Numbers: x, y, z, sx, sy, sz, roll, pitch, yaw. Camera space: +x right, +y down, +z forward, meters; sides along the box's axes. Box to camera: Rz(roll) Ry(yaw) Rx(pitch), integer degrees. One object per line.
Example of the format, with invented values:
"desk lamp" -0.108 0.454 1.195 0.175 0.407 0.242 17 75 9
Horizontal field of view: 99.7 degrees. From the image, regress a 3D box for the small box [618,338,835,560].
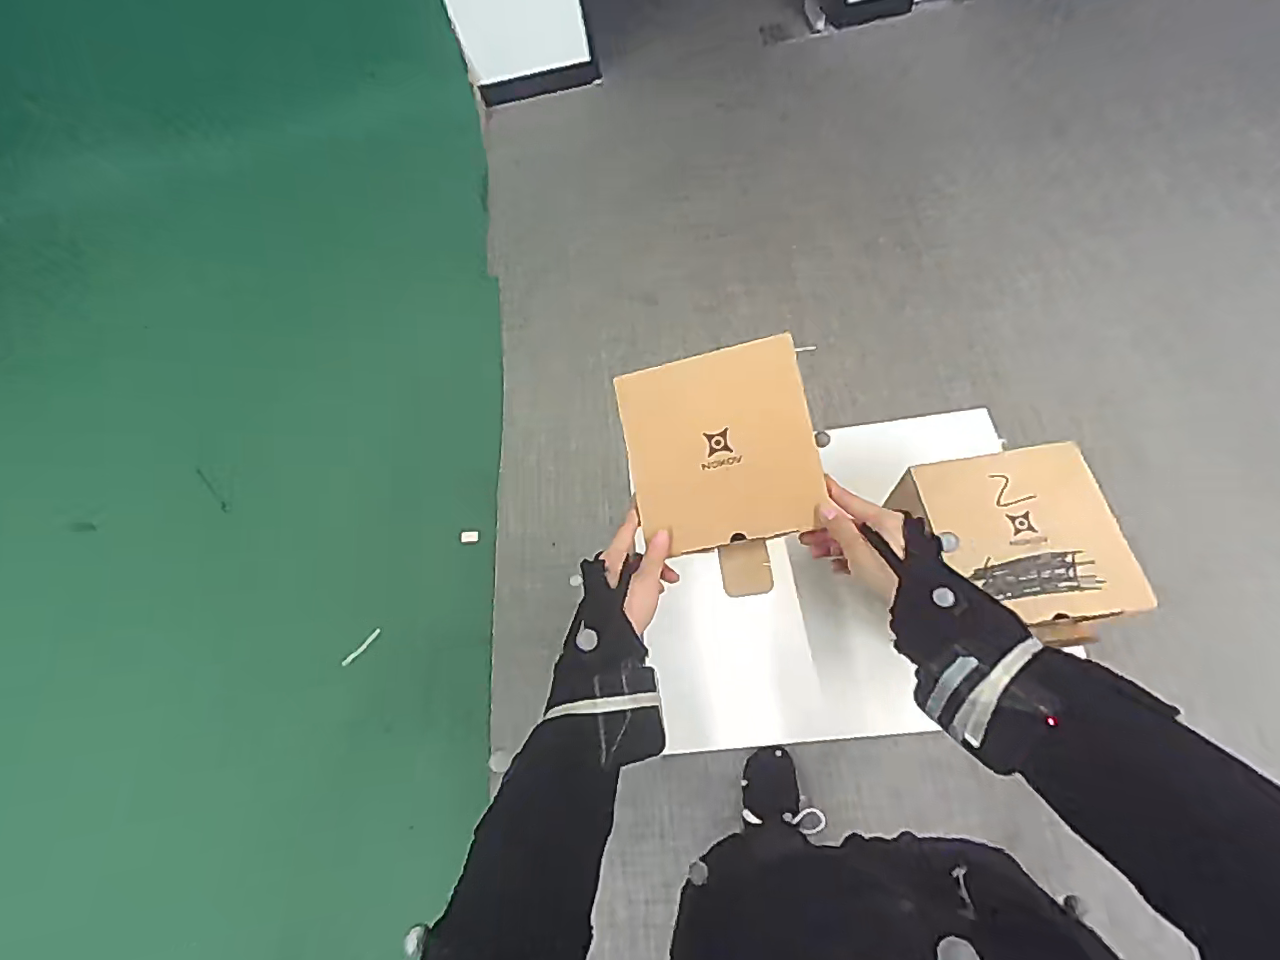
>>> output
"small box" 0.086 -0.019 0.559 0.168 0.176 0.179 -13 82 10
